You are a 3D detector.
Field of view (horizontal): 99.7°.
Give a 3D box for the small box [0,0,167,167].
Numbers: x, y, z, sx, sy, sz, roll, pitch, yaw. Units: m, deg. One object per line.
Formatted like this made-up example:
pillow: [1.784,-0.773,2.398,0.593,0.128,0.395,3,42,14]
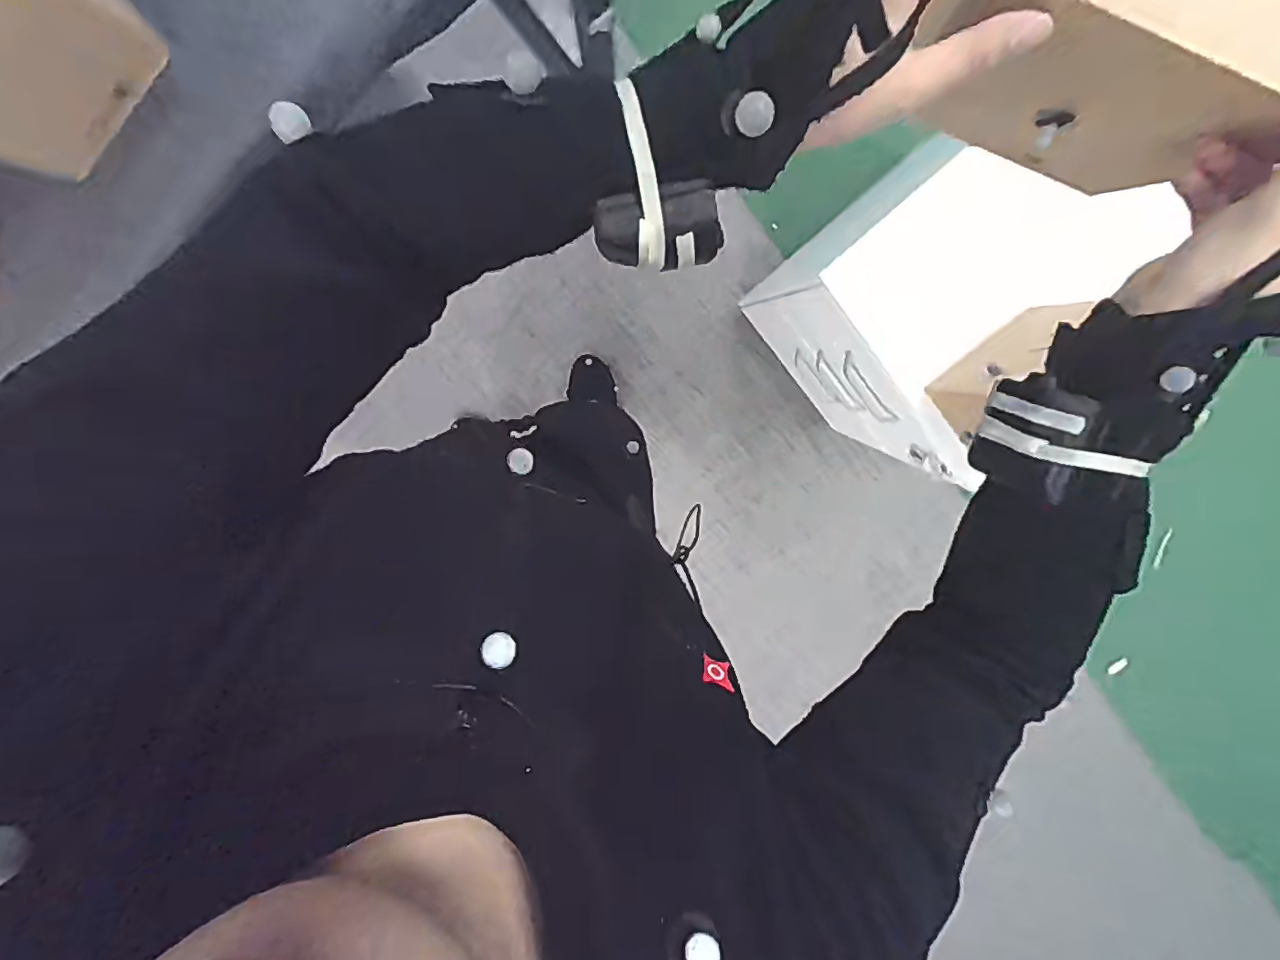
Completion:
small box: [-0.555,-0.394,0.428,0.168,0.176,0.179,-43,101,8]
